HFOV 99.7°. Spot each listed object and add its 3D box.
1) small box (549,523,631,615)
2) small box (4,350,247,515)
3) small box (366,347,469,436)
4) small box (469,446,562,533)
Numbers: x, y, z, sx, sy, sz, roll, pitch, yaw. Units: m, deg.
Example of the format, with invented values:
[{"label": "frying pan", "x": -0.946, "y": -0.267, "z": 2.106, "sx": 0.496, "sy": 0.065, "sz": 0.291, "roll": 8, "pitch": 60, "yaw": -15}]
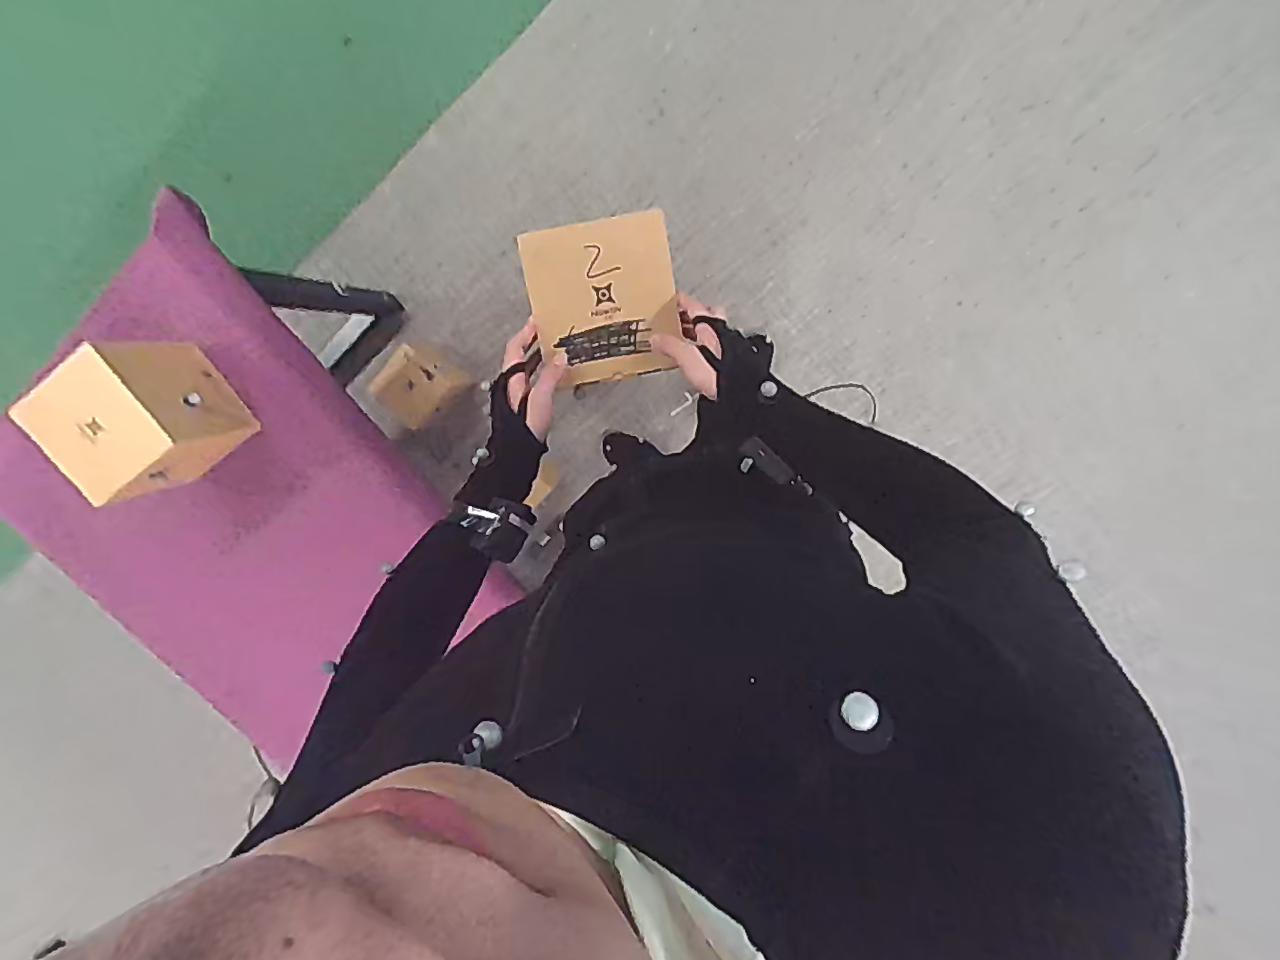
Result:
[{"label": "small box", "x": -0.139, "y": 0.253, "z": 1.592, "sx": 0.168, "sy": 0.176, "sz": 0.179, "roll": 41, "pitch": 103, "yaw": -6}, {"label": "small box", "x": -0.738, "y": -0.080, "z": 0.803, "sx": 0.179, "sy": 0.176, "sz": 0.168, "roll": -32, "pitch": 100, "yaw": 12}, {"label": "small box", "x": -0.608, "y": -0.248, "z": 1.502, "sx": 0.168, "sy": 0.176, "sz": 0.179, "roll": 43, "pitch": 103, "yaw": -6}, {"label": "small box", "x": -0.350, "y": 0.019, "z": 1.550, "sx": 0.179, "sy": 0.176, "sz": 0.168, "roll": 43, "pitch": 103, "yaw": -7}]
